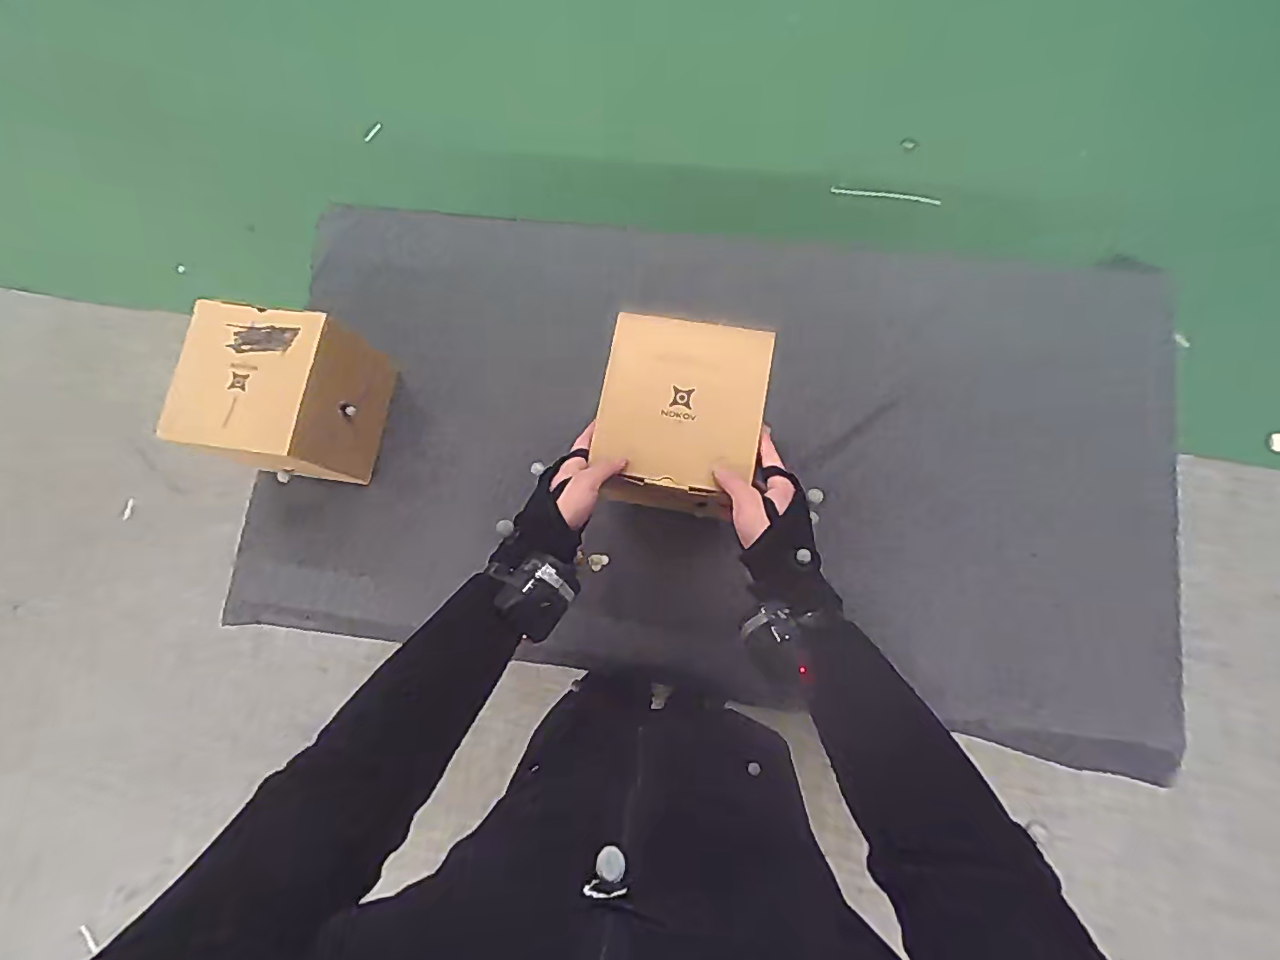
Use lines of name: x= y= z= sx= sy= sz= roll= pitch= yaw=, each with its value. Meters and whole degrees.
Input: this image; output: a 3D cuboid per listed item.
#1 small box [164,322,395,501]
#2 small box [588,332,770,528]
small box: x=-0.447 y=-0.080 z=0.704 sx=0.168 sy=0.176 sz=0.179 roll=7 pitch=79 yaw=5
small box: x=0.047 y=-0.047 z=0.630 sx=0.168 sy=0.176 sz=0.179 roll=9 pitch=78 yaw=6
